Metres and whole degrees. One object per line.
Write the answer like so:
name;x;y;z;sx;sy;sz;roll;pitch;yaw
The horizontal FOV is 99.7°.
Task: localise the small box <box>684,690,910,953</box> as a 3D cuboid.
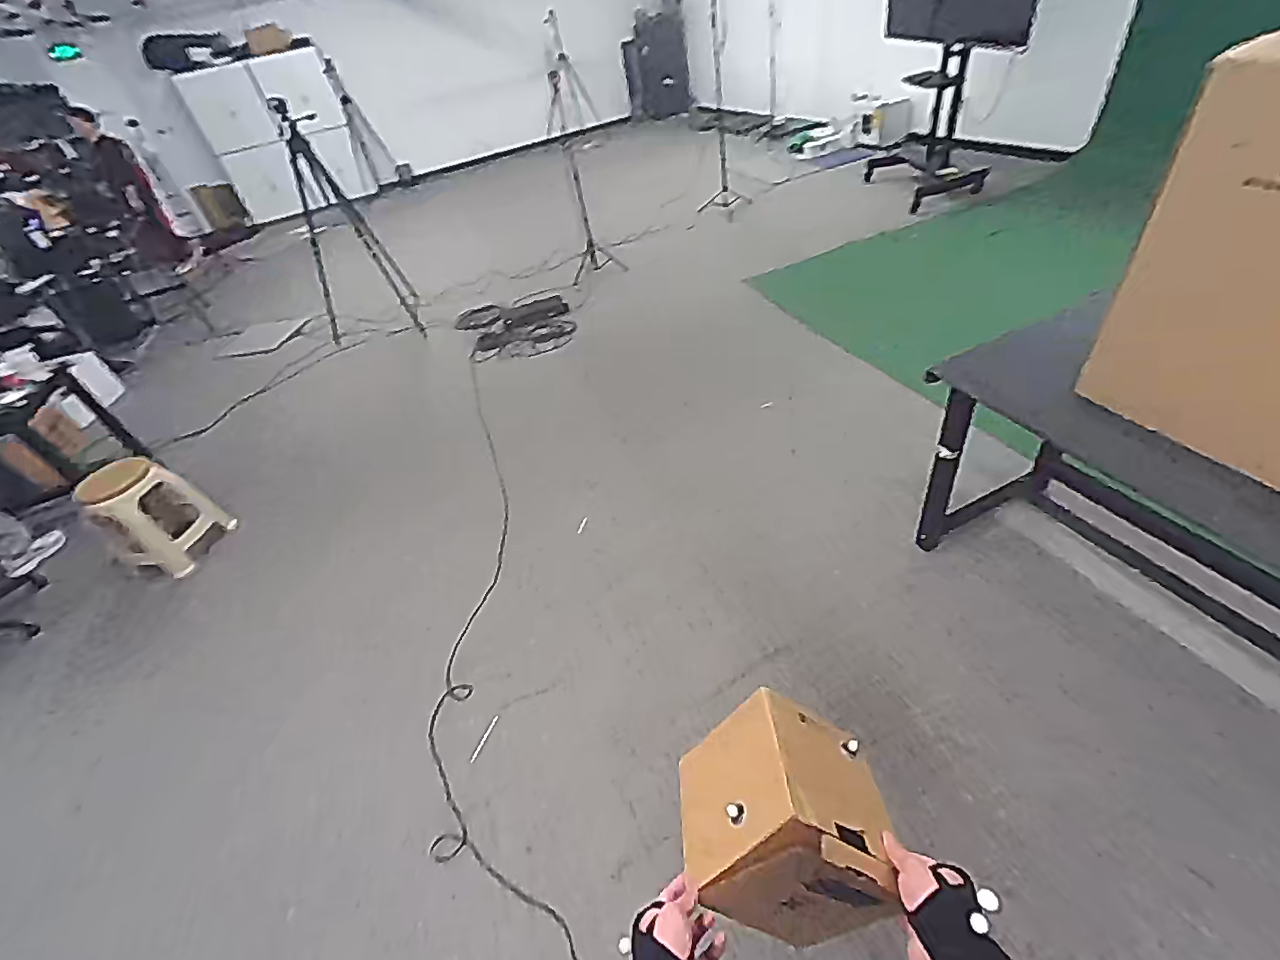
small box;0.161;0.385;0.629;0.168;0.179;0.176;34;19;-10
